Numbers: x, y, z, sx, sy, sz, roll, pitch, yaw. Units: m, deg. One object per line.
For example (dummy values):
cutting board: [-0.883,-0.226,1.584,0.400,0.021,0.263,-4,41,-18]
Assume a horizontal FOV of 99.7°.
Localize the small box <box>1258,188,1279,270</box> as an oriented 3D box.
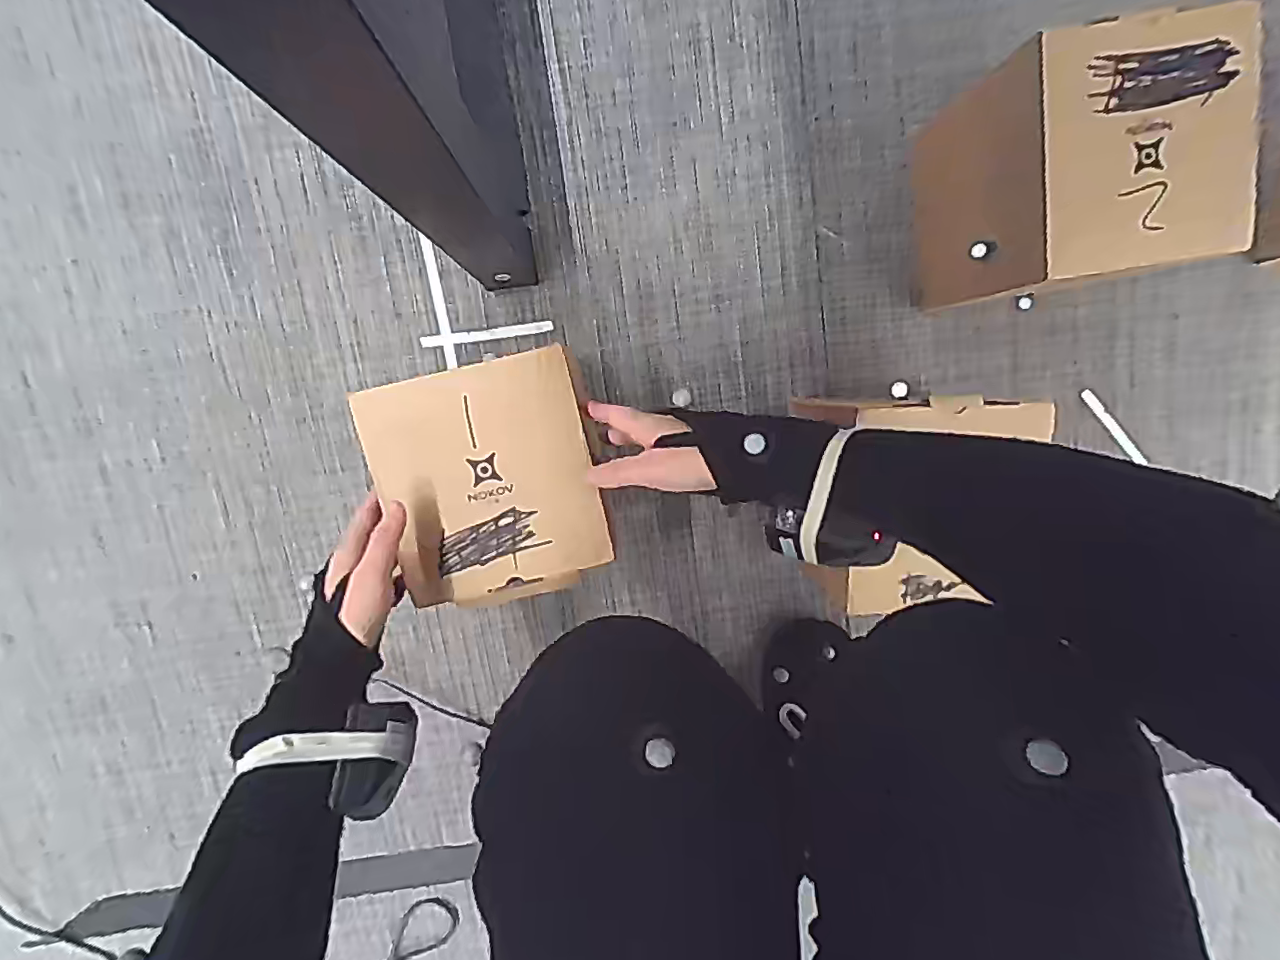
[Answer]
small box: [0.764,-0.283,0.498,0.179,0.176,0.168,9,99,-4]
